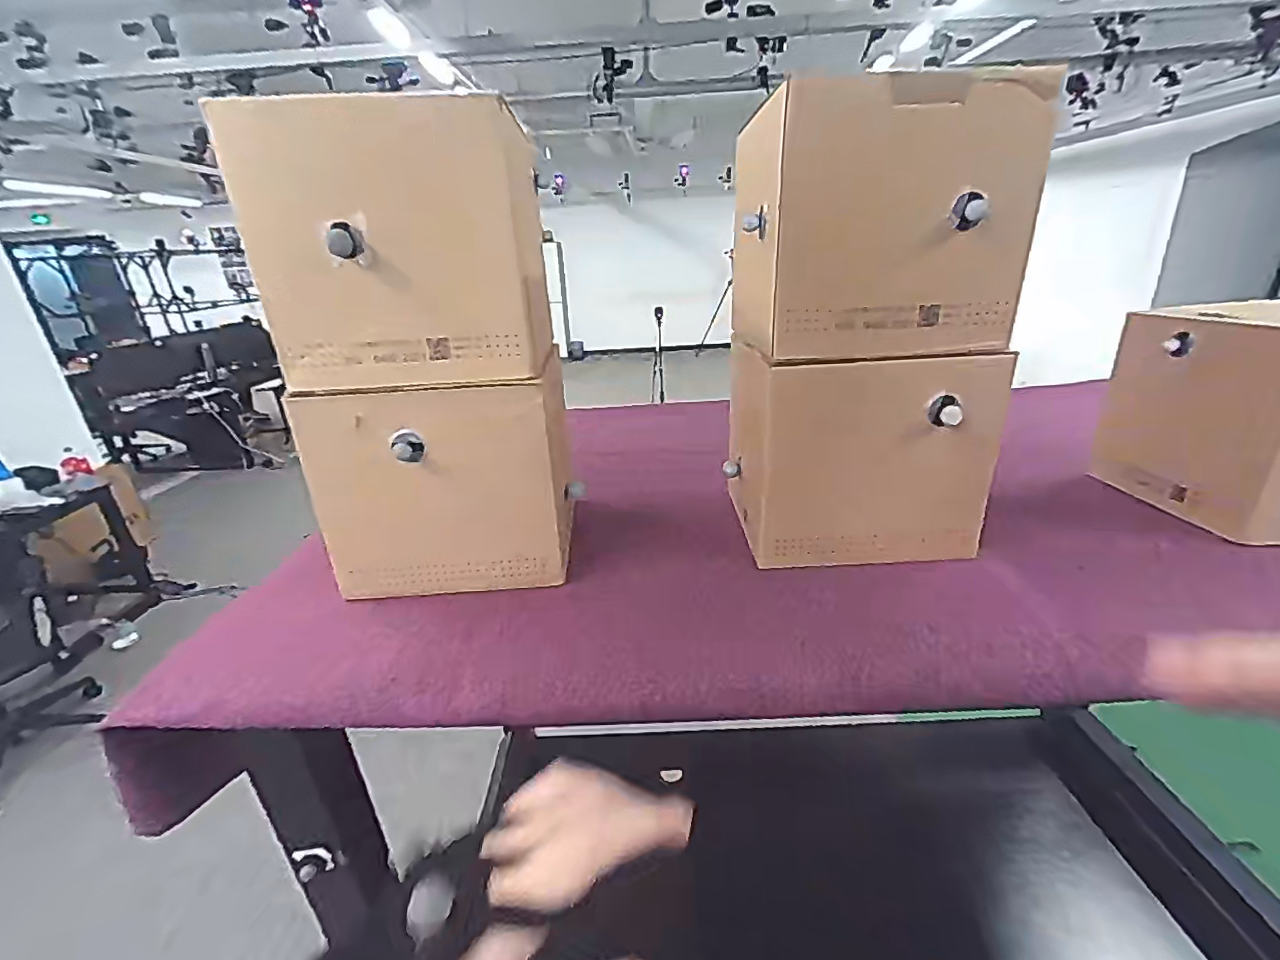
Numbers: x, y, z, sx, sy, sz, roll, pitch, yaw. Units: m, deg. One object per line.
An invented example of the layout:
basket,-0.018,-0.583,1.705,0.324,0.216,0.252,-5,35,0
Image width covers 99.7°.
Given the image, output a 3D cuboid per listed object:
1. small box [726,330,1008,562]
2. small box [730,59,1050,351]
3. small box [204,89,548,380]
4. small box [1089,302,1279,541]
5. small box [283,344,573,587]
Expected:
small box,0.173,-0.040,0.476,0.179,0.176,0.168,-3,22,2
small box,0.164,-0.194,0.422,0.168,0.176,0.179,-2,22,1
small box,-0.166,-0.171,0.414,0.168,0.176,0.179,-4,22,-3
small box,0.545,-0.057,0.464,0.179,0.176,0.168,-2,21,1
small box,-0.158,-0.019,0.472,0.179,0.176,0.168,-3,23,-2
